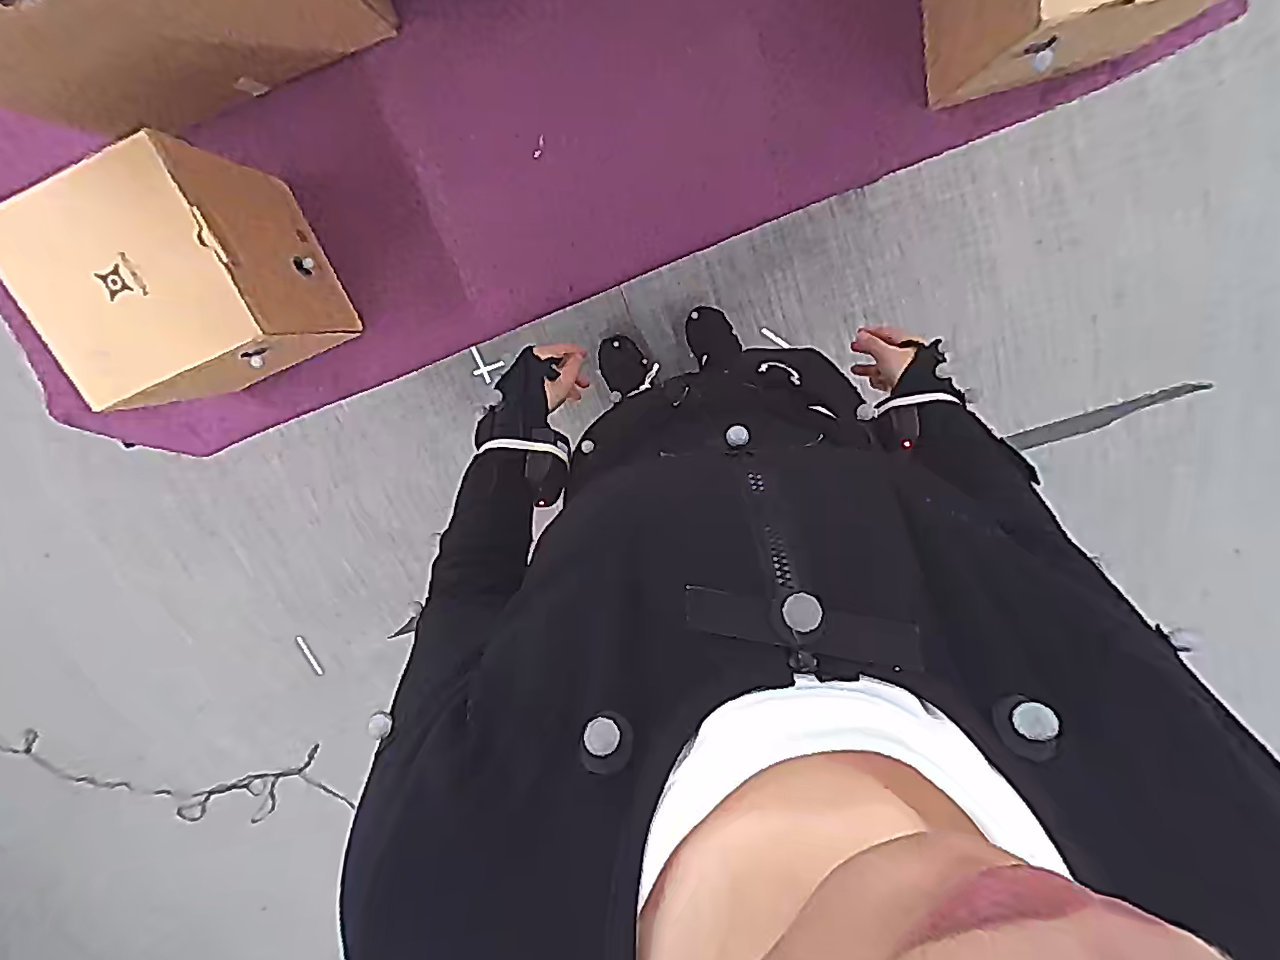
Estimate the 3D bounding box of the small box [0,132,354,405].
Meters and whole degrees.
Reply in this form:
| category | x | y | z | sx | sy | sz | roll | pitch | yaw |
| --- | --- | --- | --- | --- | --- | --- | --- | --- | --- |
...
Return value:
| category | x | y | z | sx | sy | sz | roll | pitch | yaw |
| --- | --- | --- | --- | --- | --- | --- | --- | --- | --- |
| small box | -0.426 | -0.188 | 0.522 | 0.179 | 0.176 | 0.168 | -23 | 105 | 6 |

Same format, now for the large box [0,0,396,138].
| category | x | y | z | sx | sy | sz | roll | pitch | yaw |
| --- | --- | --- | --- | --- | --- | --- | --- | --- | --- |
| large box | -0.441 | -0.519 | 0.344 | 0.320 | 0.320 | 0.408 | -17 | 109 | 9 |
